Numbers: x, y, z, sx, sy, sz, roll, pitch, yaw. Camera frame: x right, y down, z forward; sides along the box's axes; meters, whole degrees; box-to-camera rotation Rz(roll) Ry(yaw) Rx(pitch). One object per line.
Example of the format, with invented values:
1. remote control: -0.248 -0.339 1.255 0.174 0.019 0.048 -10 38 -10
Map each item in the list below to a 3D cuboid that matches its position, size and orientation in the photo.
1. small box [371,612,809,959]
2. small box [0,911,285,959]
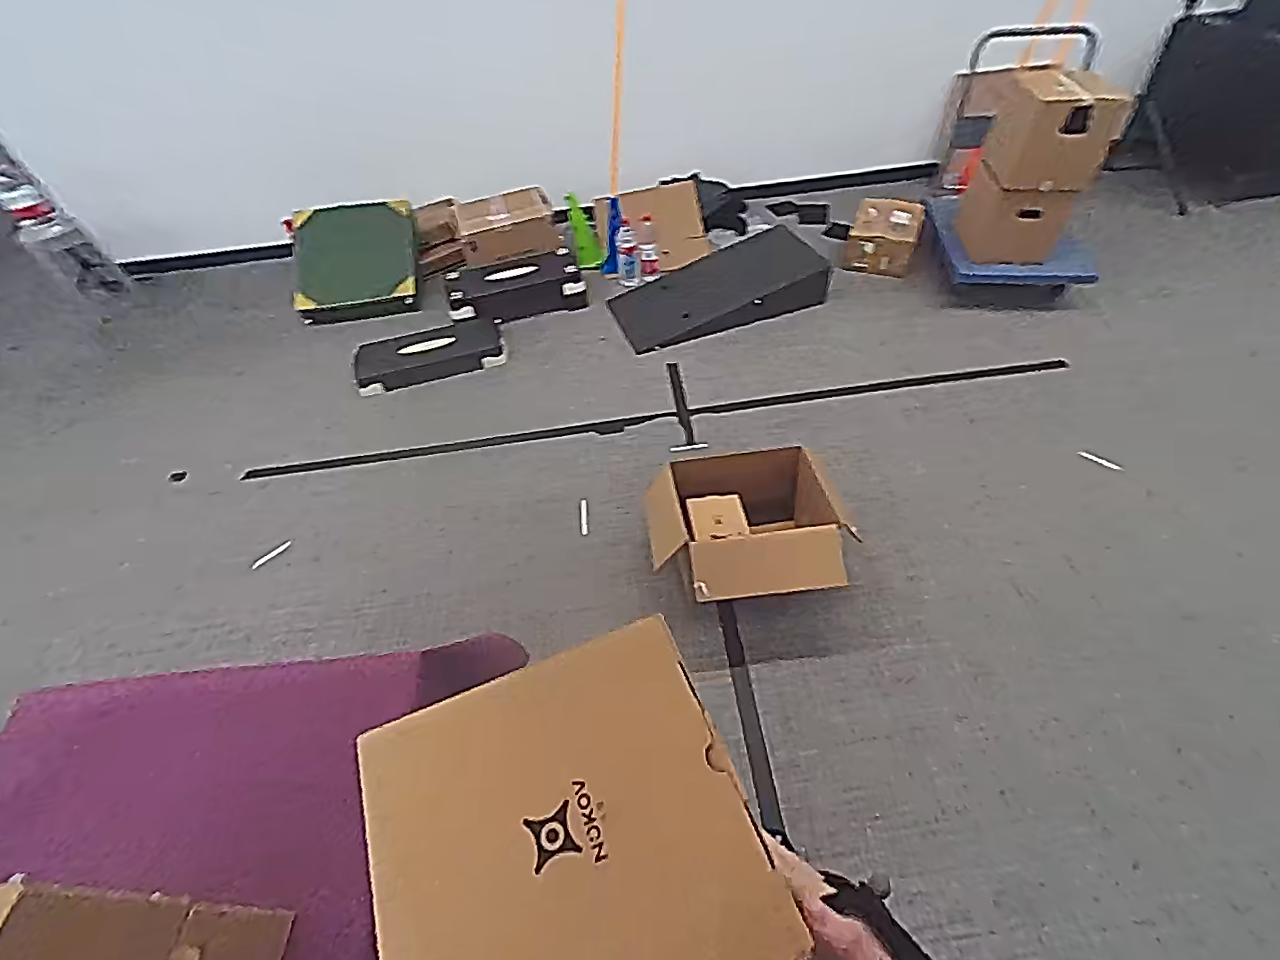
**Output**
1. small box: -0.031 0.211 0.323 0.179 0.176 0.168 -19 56 -11
2. small box: -0.481 0.510 0.503 0.179 0.176 0.168 -5 49 2
